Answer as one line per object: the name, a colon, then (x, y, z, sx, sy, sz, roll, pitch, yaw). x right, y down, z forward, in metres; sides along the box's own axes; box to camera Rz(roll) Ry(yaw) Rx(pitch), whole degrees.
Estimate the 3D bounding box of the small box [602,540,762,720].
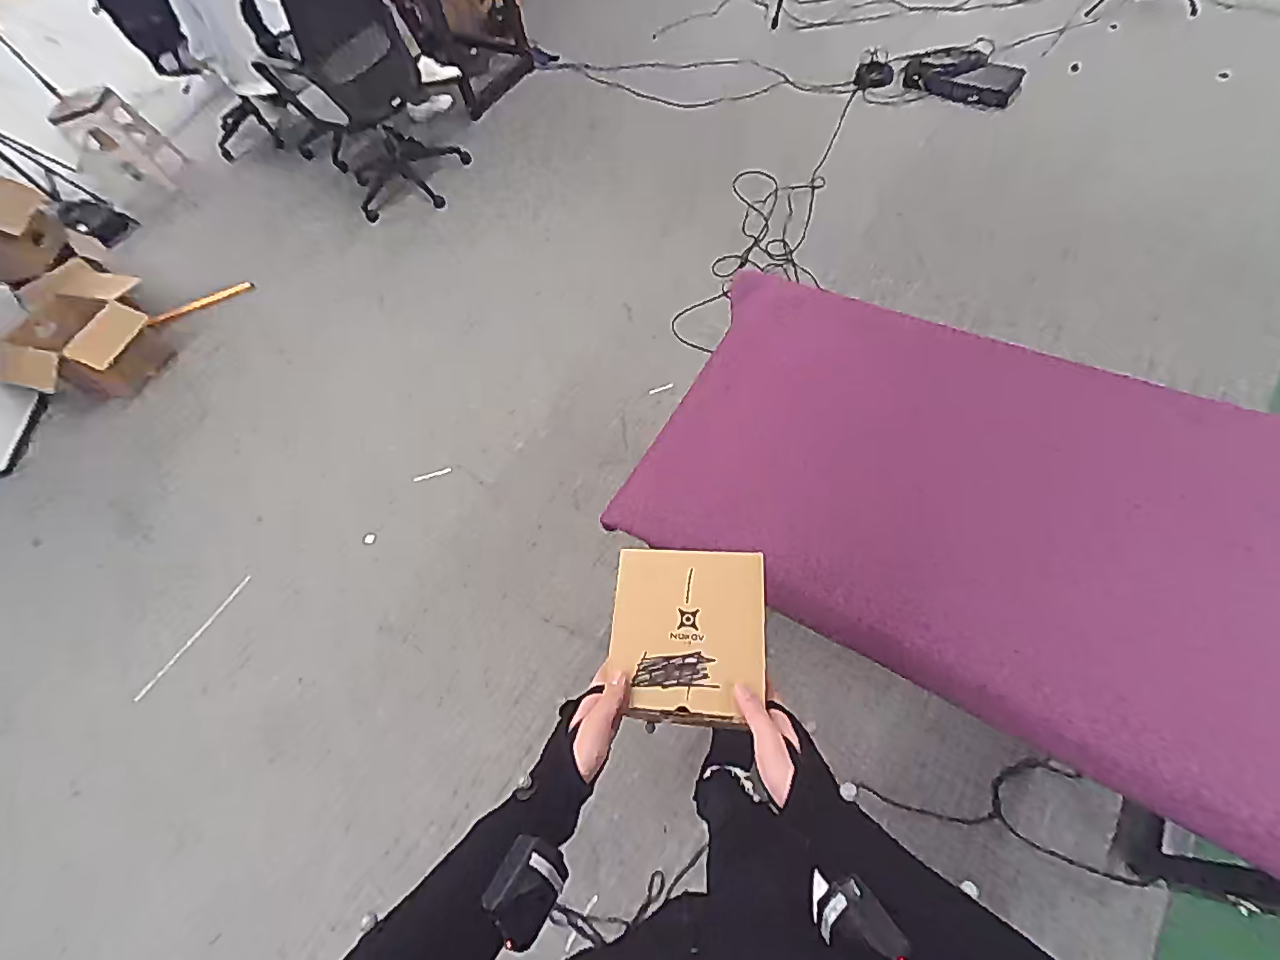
small box: (0.061, 0.186, 0.655, 0.168, 0.176, 0.179, 2, 62, 10)
